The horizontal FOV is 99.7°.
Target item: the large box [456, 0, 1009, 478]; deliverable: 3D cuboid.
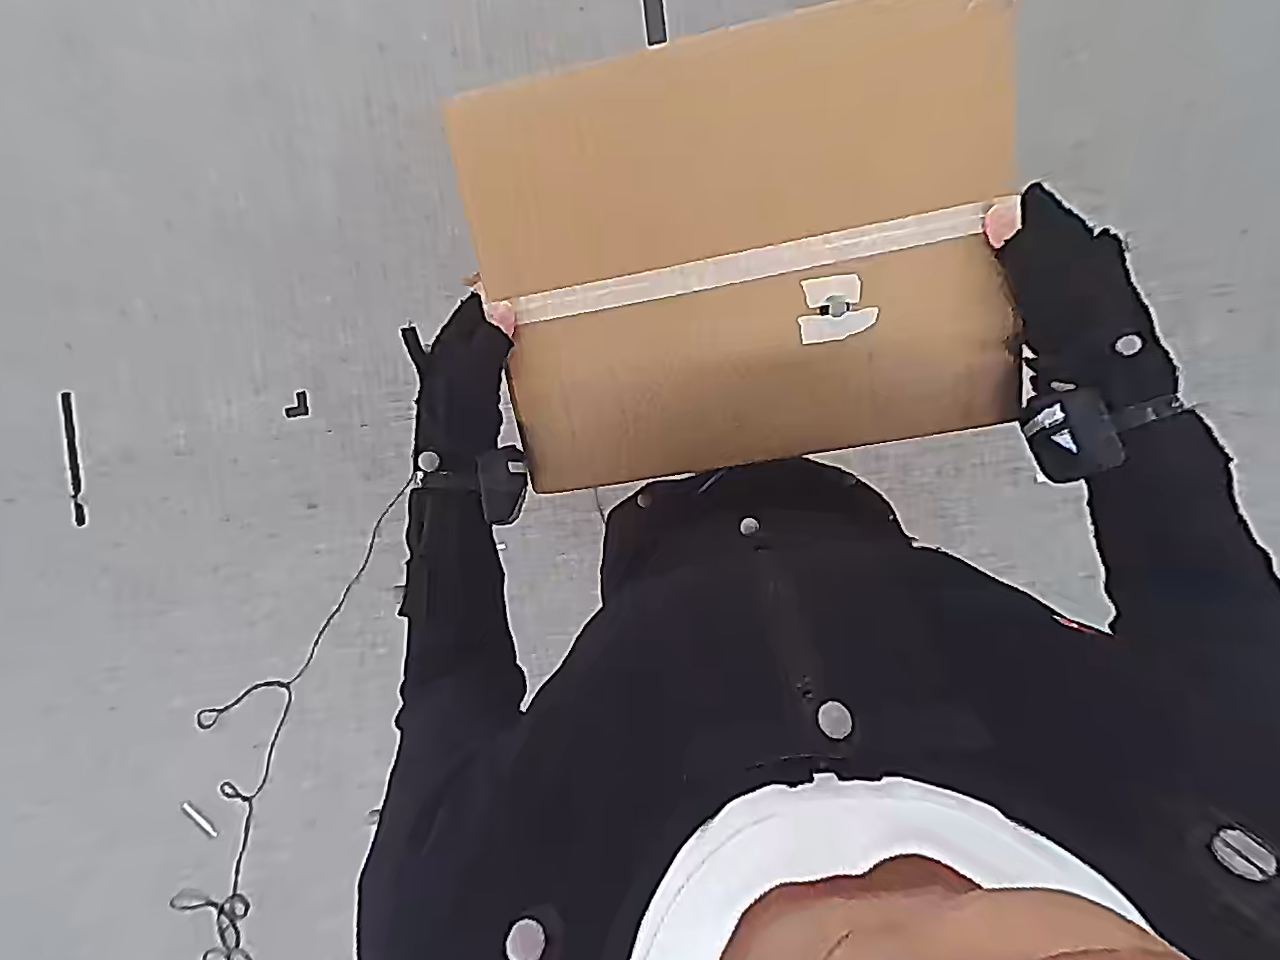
[{"bbox_3d":[0.087,-0.217,0.572,0.408,0.320,0.320,-10,105,6],"label":"large box"}]
